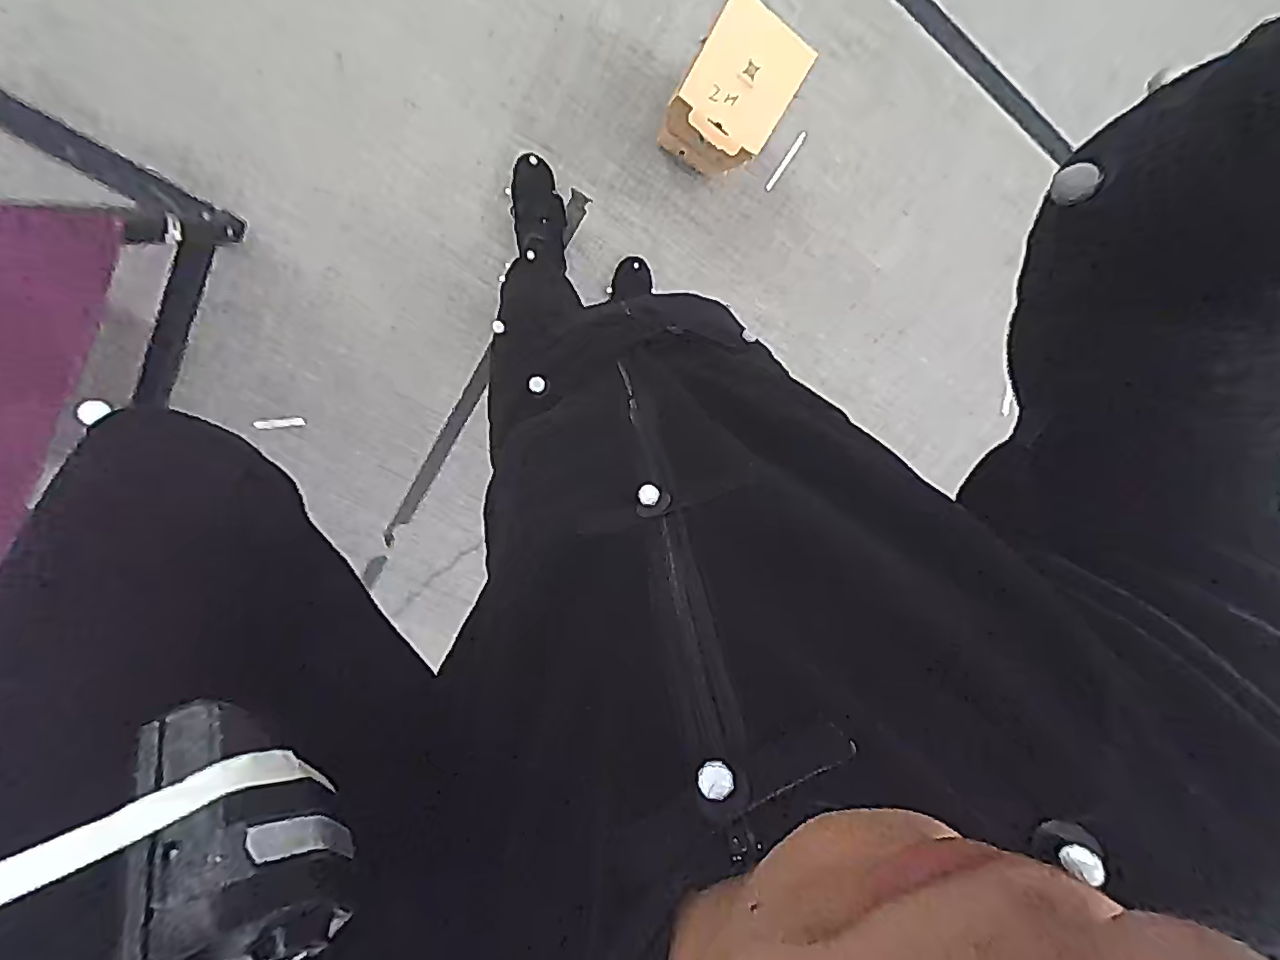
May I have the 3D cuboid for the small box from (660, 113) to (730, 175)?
[{"bbox_3d":[0.157,-0.830,1.243,0.168,0.176,0.179,25,110,-16],"label":"small box"}]

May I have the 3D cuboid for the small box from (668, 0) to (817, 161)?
[{"bbox_3d":[0.165,-0.692,0.942,0.168,0.176,0.179,28,110,-18],"label":"small box"}]
